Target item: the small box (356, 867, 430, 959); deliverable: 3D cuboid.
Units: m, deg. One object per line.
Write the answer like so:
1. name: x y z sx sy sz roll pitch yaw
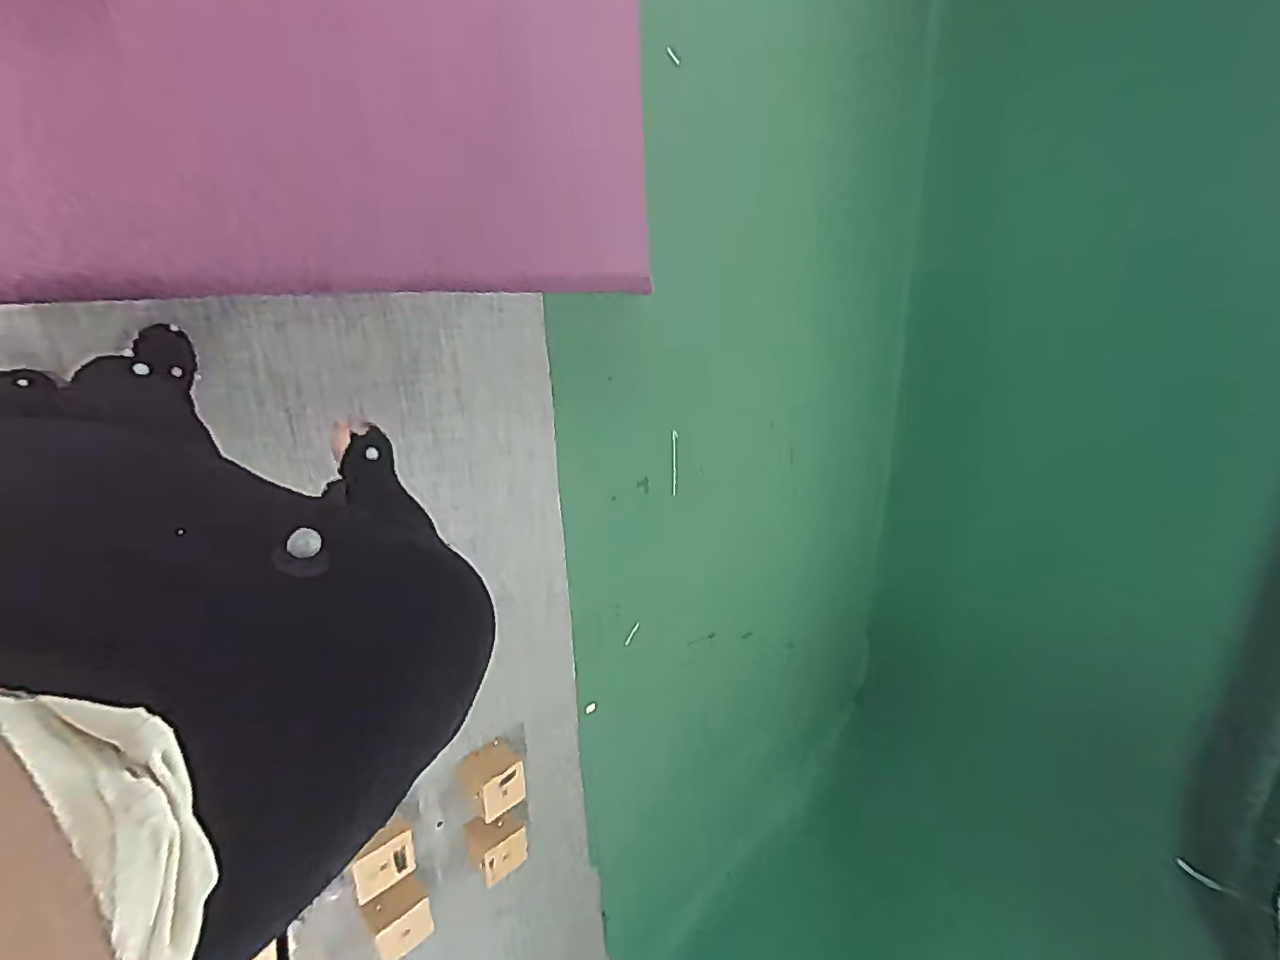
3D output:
1. small box: -0.836 1.473 1.821 0.179 0.176 0.168 -18 114 -42

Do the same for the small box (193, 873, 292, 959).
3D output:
1. small box: -1.098 1.250 1.494 0.179 0.176 0.168 -19 114 -40

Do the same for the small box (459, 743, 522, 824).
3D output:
1. small box: -0.557 1.111 2.005 0.168 0.176 0.179 -16 113 -42

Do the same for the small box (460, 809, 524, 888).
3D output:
1. small box: -0.567 1.392 2.074 0.179 0.176 0.168 -15 111 -43
